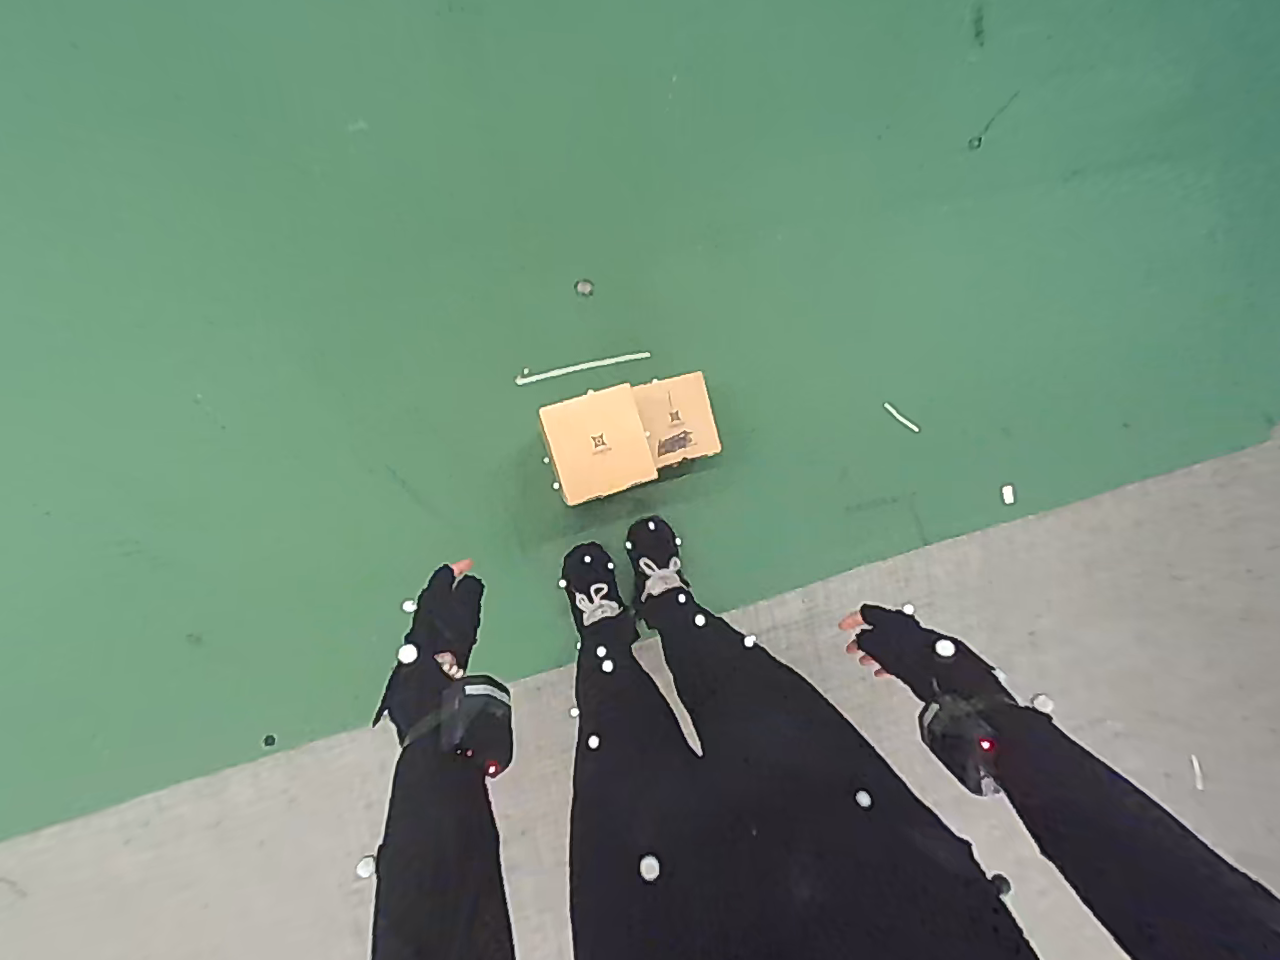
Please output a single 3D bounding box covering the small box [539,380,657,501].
[{"bbox_3d":[-0.086,-0.069,1.004,0.168,0.176,0.179,-18,95,-10],"label":"small box"}]
